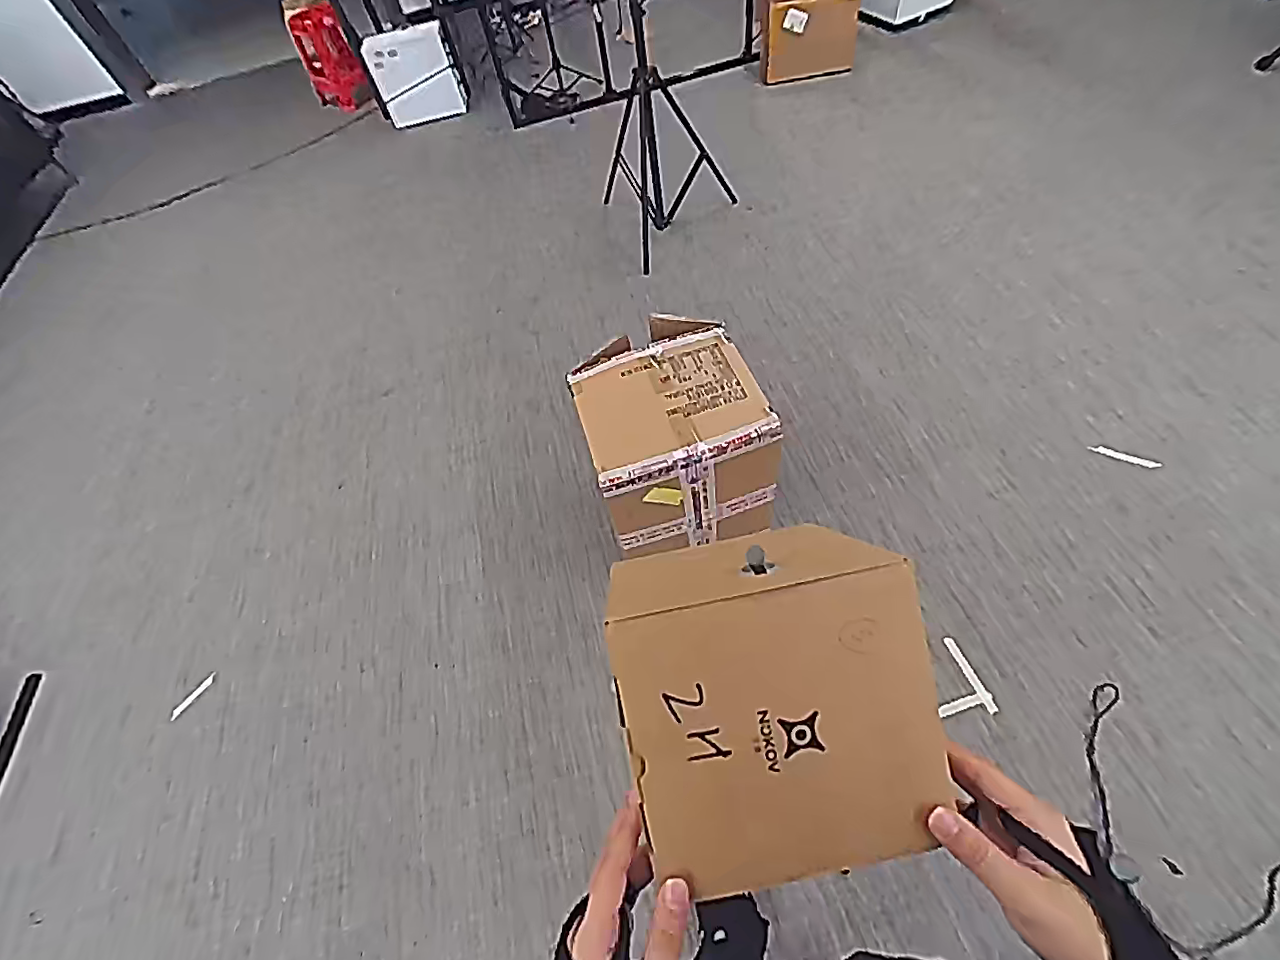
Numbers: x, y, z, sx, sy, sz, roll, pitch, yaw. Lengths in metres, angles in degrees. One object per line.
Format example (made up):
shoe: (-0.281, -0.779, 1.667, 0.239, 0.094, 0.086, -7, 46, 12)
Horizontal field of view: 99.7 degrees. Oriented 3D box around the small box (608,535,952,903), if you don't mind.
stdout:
small box: (0.078, 0.142, 0.386, 0.179, 0.176, 0.168, -12, 92, -1)
